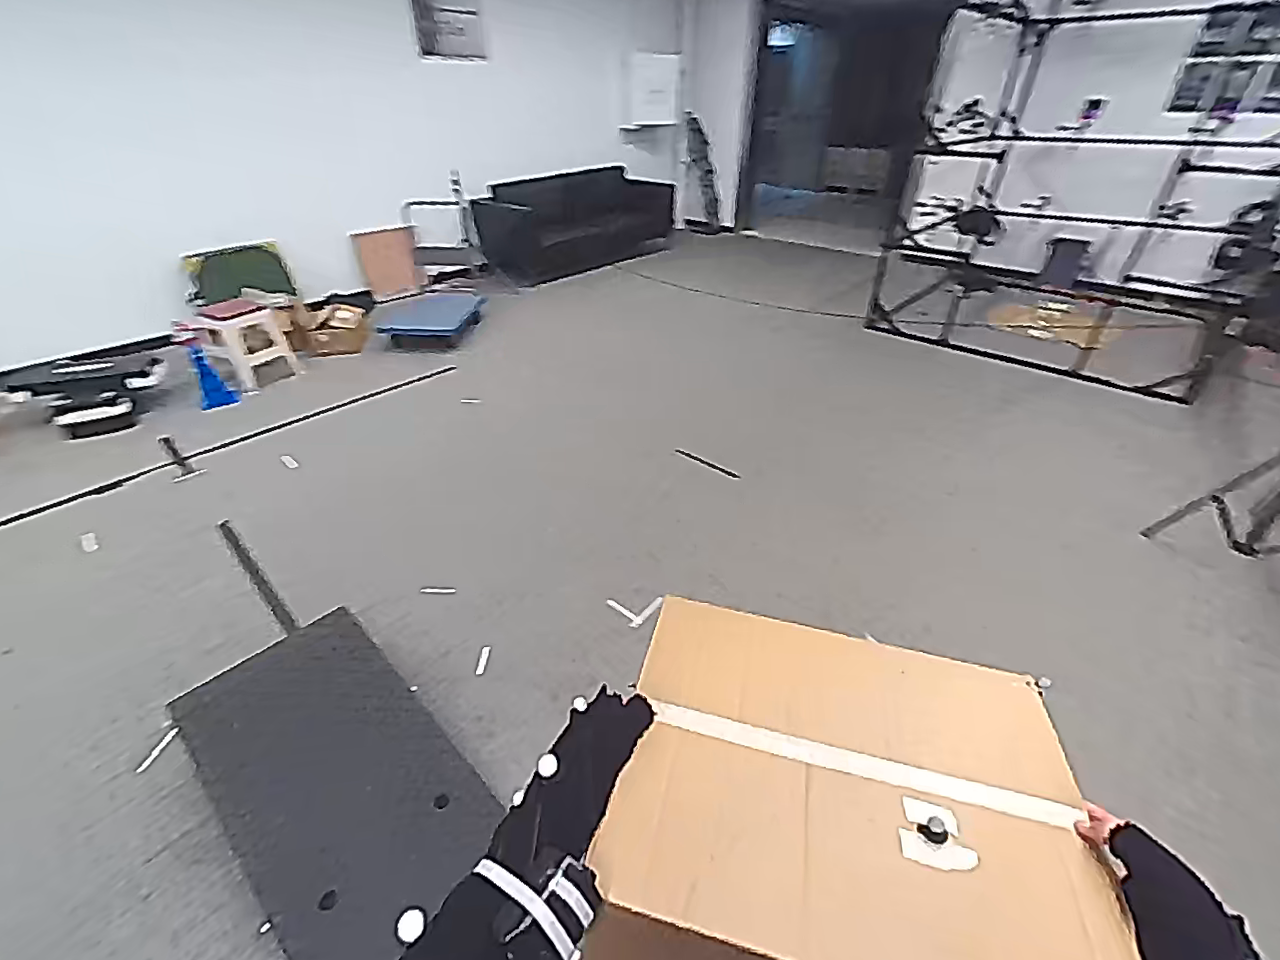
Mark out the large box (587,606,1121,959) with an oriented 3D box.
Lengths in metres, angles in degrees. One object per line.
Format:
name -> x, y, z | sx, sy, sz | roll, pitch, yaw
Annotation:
large box -> 0.174, 0.389, 0.592 | 0.408, 0.320, 0.320 | 10, 35, 10

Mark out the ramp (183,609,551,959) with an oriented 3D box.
ramp -> -0.731, 0.785, 1.410 | 0.991, 0.206, 0.509 | 26, 42, 33
